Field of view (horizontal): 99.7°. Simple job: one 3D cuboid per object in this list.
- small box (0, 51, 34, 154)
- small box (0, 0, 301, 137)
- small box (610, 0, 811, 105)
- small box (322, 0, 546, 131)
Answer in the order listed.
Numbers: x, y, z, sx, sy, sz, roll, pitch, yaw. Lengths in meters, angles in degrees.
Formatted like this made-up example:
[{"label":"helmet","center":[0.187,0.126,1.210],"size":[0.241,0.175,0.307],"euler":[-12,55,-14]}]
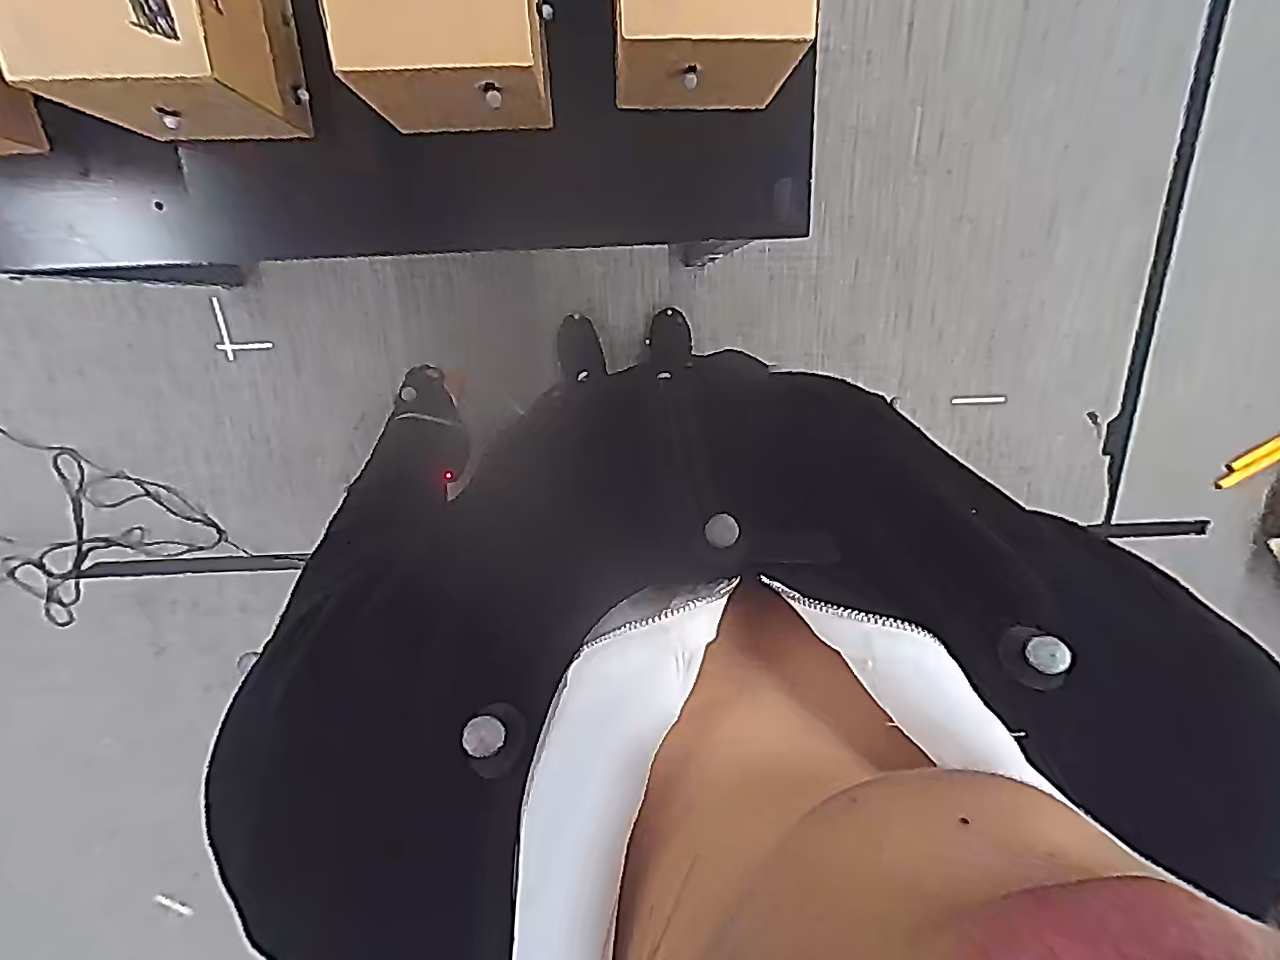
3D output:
[{"label":"small box","center":[-0.751,-0.419,0.509],"size":[0.179,0.176,0.168],"euler":[-6,107,-1]},{"label":"small box","center":[-0.457,-0.445,0.516],"size":[0.179,0.176,0.168],"euler":[-2,107,-1]},{"label":"small box","center":[0.060,-0.490,0.529],"size":[0.179,0.176,0.168],"euler":[-2,107,-1]},{"label":"small box","center":[-0.188,-0.460,0.524],"size":[0.179,0.176,0.168],"euler":[-5,106,-2]}]
